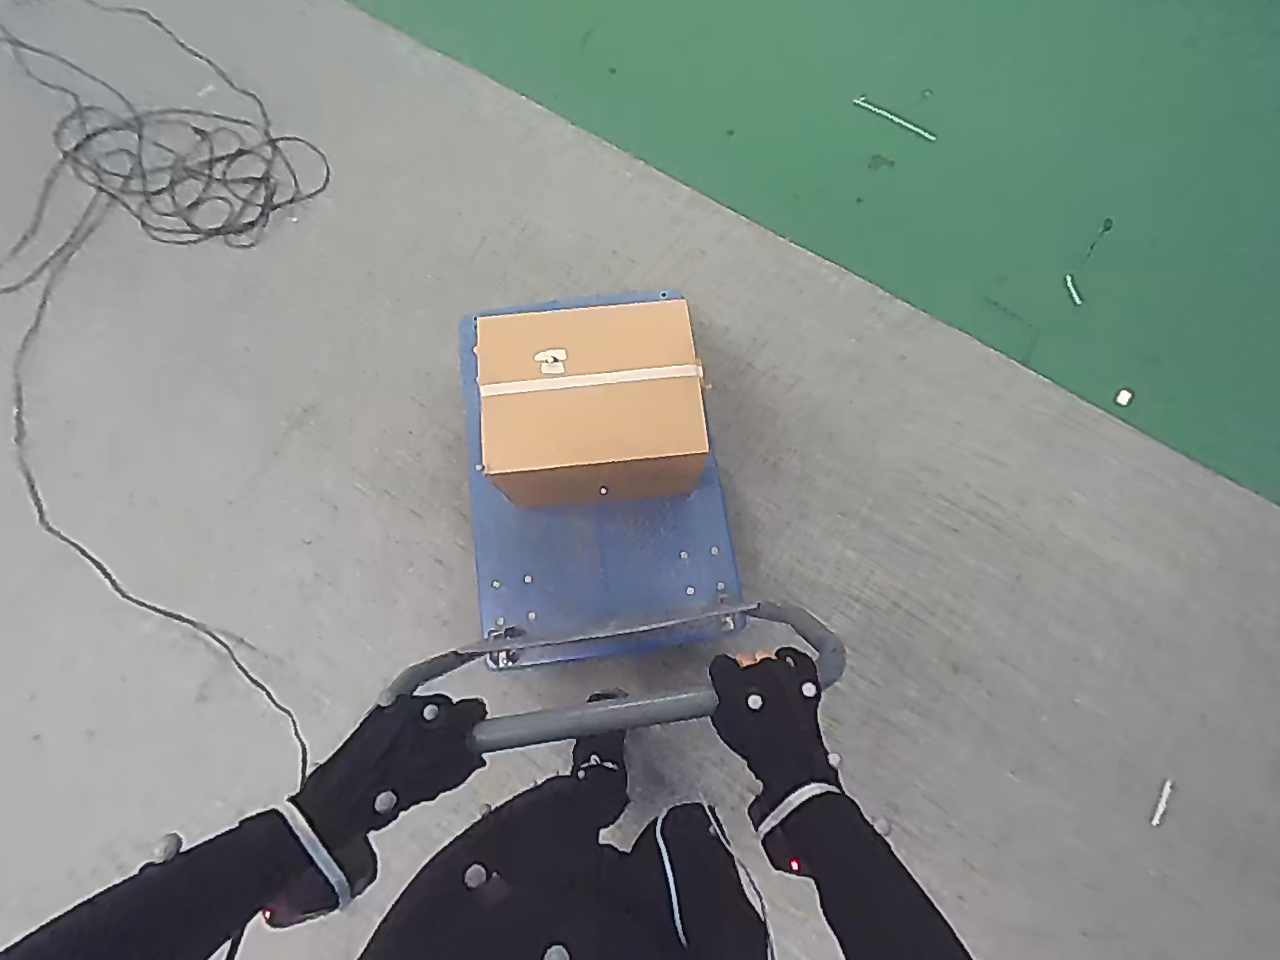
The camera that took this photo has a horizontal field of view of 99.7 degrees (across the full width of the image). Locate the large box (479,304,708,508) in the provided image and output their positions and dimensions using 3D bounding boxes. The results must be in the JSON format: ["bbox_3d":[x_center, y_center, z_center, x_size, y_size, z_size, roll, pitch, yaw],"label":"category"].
[{"bbox_3d":[-0.090,-0.134,1.139,0.408,0.320,0.320,-6,76,-1],"label":"large box"}]
